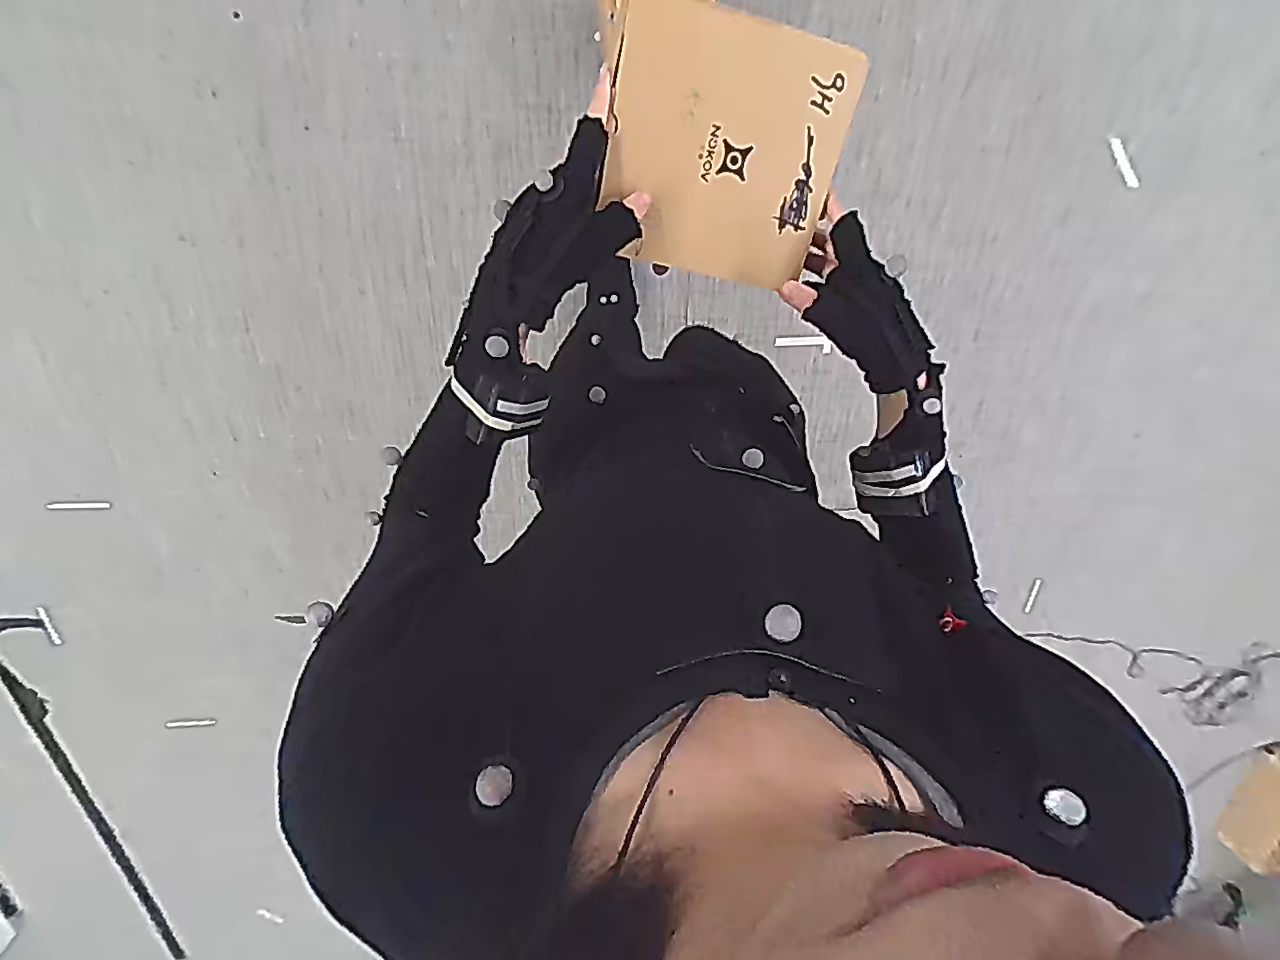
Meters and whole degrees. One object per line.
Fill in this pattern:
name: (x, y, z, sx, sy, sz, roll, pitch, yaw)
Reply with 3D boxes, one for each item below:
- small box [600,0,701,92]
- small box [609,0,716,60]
small box: (0.016, -0.900, 1.080, 0.179, 0.176, 0.168, -8, 114, -1)
small box: (0.034, -0.847, 0.927, 0.168, 0.176, 0.179, -6, 113, -5)
